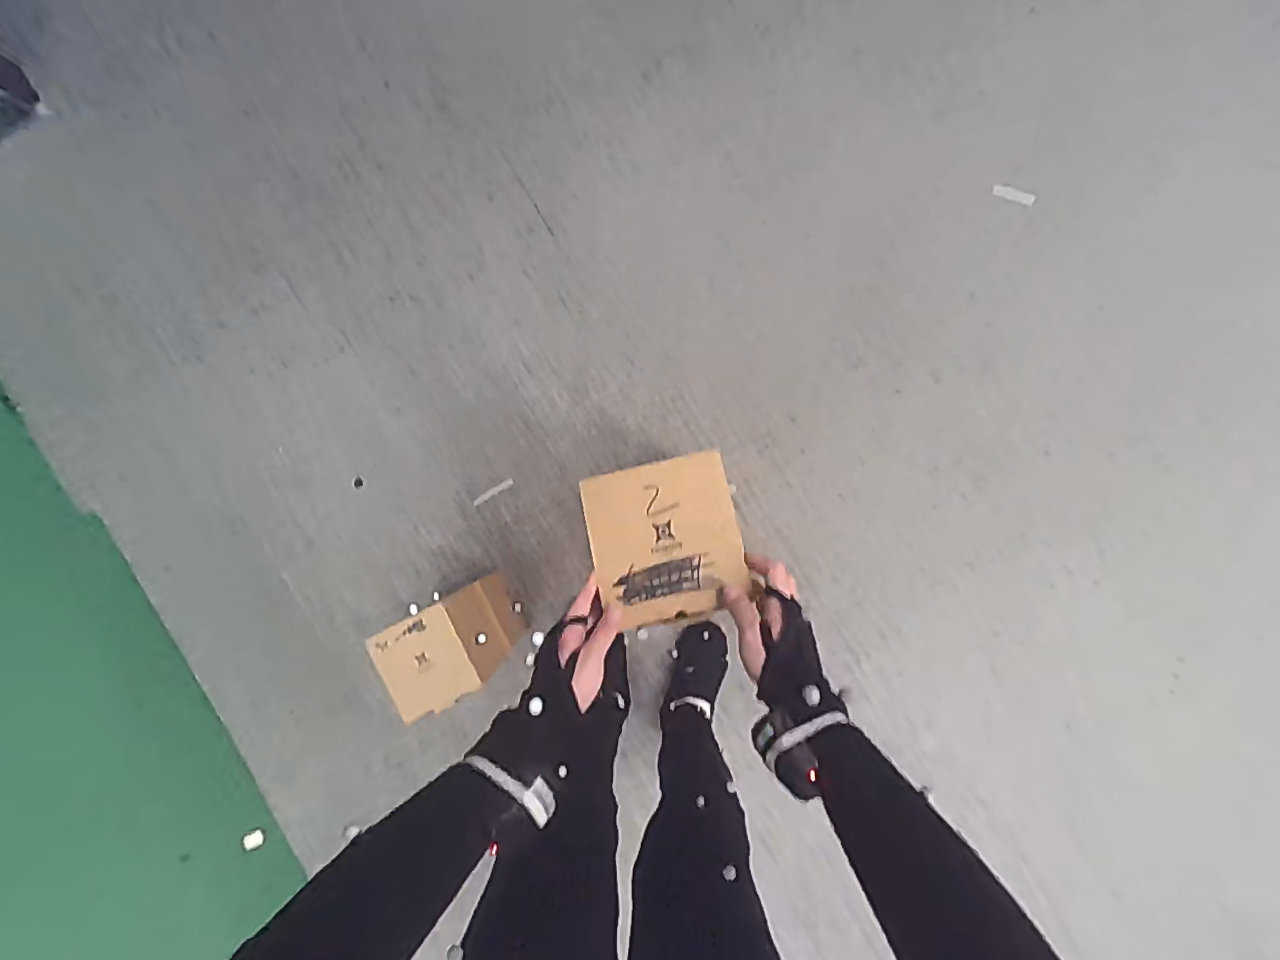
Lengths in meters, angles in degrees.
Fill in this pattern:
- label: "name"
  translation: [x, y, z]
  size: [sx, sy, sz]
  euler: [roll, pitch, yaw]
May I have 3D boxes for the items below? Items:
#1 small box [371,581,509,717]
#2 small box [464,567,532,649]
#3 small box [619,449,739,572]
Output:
- label: "small box"
  translation: [-0.381, 0.323, 1.066]
  size: [0.168, 0.176, 0.179]
  euler: [-26, 90, 3]
- label: "small box"
  translation: [-0.371, 0.316, 1.230]
  size: [0.179, 0.176, 0.168]
  euler: [-26, 89, 2]
- label: "small box"
  translation: [0.069, 0.056, 1.045]
  size: [0.168, 0.176, 0.179]
  euler: [-25, 90, 2]
